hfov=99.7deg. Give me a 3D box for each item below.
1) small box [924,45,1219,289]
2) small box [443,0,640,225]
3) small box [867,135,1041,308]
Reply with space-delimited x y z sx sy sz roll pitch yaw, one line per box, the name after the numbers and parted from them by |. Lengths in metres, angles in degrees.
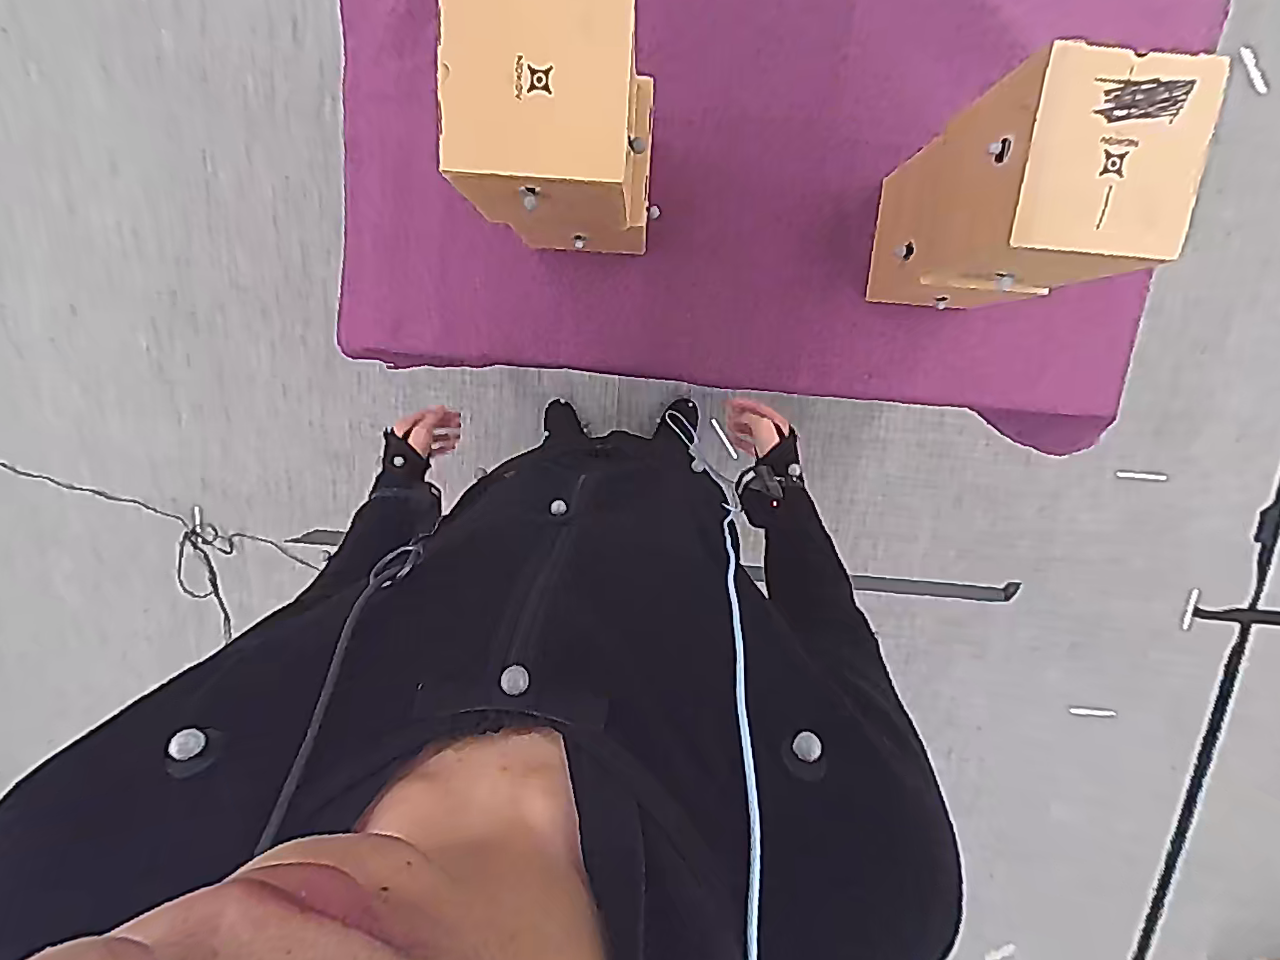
0.437 -0.316 0.583 0.168 0.176 0.179 5 102 -1 | small box
-0.091 -0.378 0.569 0.179 0.176 0.168 4 102 1 | small box
0.434 -0.340 0.746 0.168 0.176 0.179 5 102 -1 | small box
